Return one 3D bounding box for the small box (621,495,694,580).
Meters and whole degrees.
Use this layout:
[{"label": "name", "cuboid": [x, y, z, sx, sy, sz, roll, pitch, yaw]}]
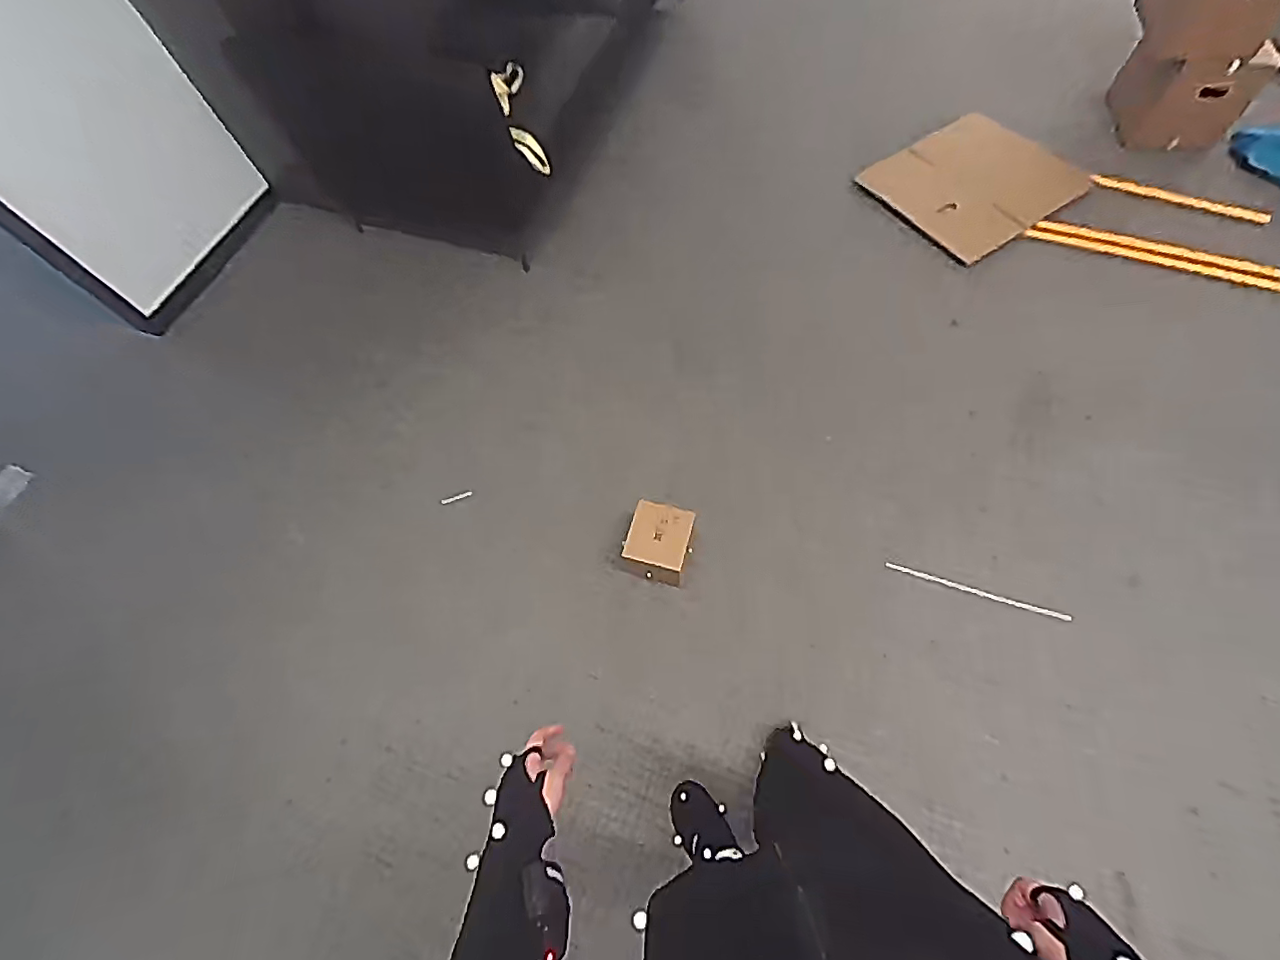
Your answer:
[{"label": "small box", "cuboid": [0.056, 0.171, 1.546, 0.168, 0.176, 0.179, 14, 67, 10]}]
